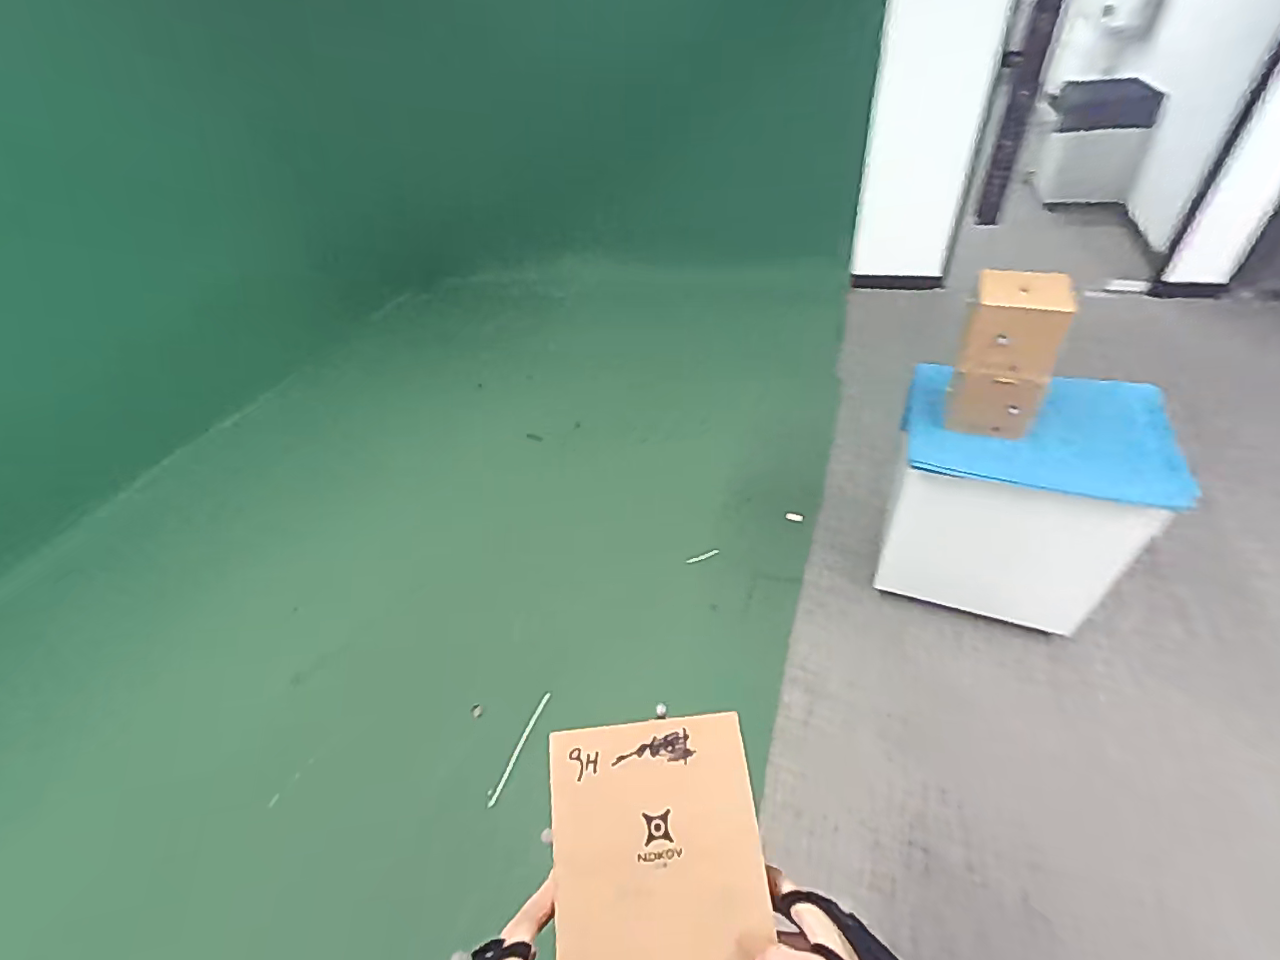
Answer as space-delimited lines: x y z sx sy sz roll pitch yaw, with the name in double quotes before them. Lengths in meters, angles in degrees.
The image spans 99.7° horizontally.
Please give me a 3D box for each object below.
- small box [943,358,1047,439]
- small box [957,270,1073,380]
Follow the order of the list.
"small box" 0.839 -0.220 1.290 0.168 0.176 0.179 13 47 20
"small box" 0.809 -0.338 1.182 0.168 0.176 0.179 13 46 21
